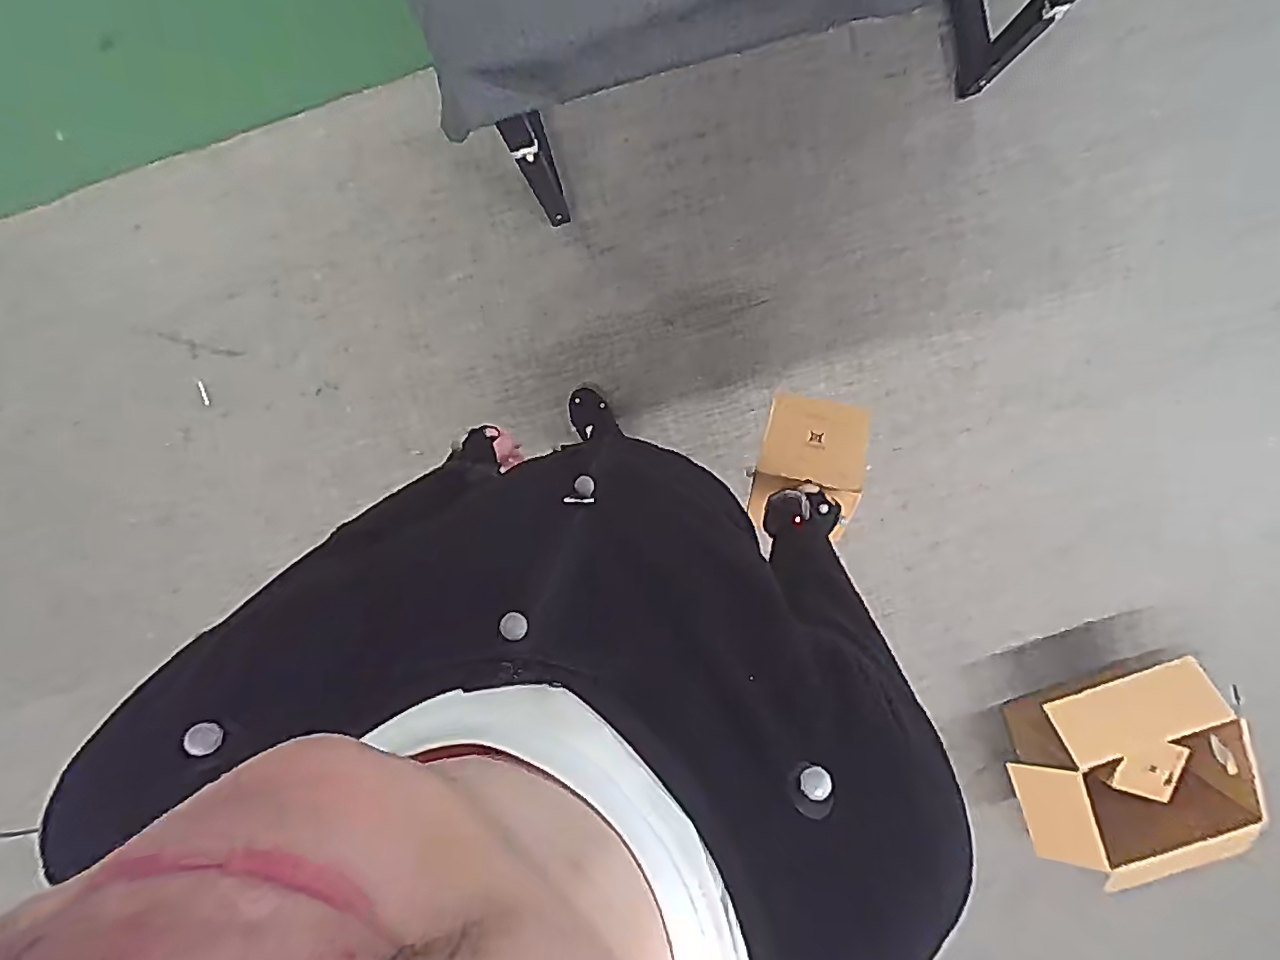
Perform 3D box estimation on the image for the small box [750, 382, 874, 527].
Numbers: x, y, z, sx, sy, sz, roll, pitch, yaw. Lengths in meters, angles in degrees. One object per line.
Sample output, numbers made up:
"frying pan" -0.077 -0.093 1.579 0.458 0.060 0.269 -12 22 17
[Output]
"small box" 0.293 -0.039 0.946 0.168 0.176 0.179 13 61 11
